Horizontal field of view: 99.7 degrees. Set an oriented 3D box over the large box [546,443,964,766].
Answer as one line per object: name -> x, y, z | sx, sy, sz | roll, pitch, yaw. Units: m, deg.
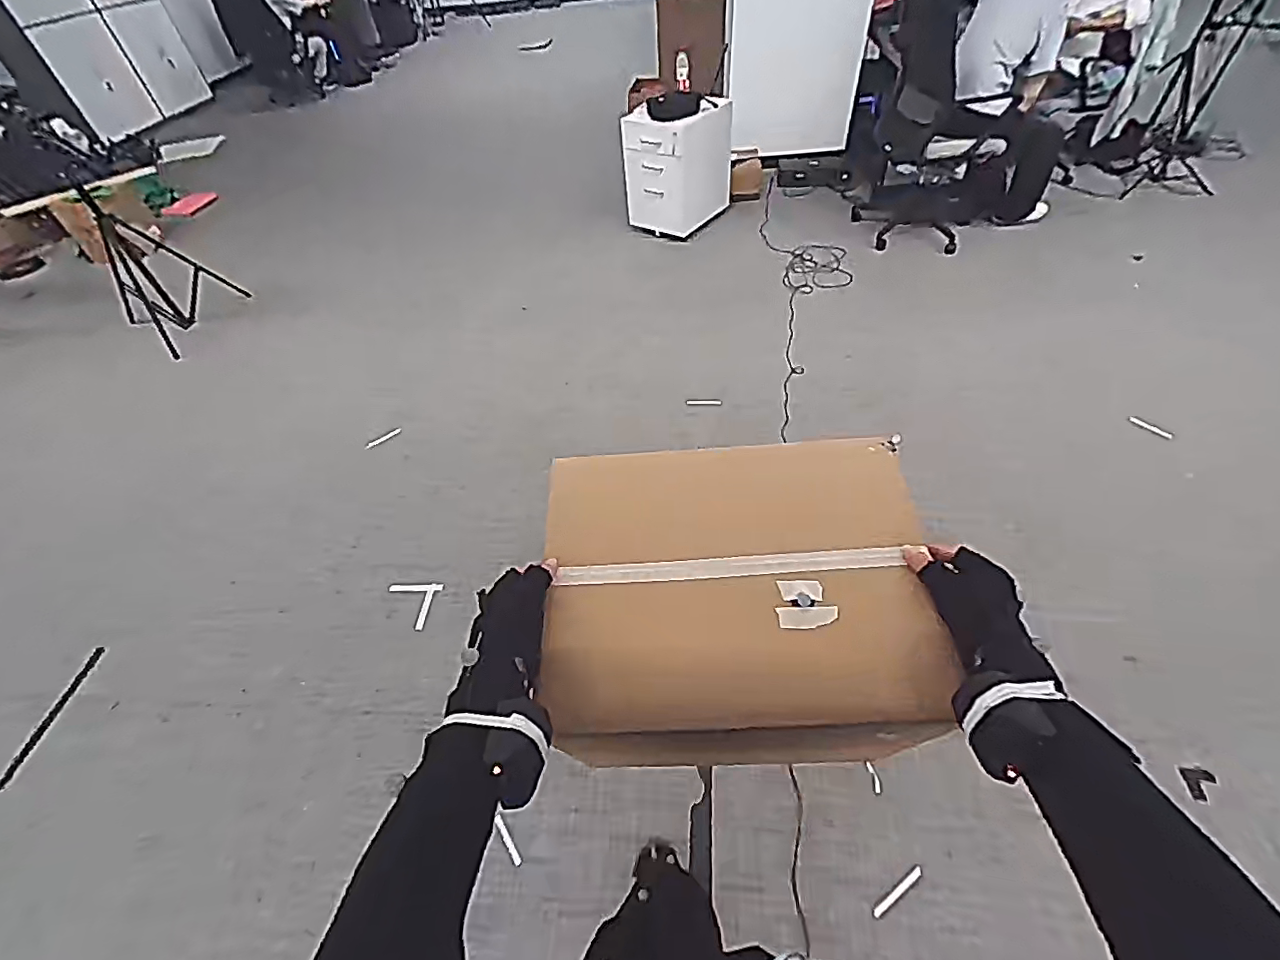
large box -> 0.110, 0.179, 0.713 | 0.408, 0.320, 0.320 | -4, 57, 3
